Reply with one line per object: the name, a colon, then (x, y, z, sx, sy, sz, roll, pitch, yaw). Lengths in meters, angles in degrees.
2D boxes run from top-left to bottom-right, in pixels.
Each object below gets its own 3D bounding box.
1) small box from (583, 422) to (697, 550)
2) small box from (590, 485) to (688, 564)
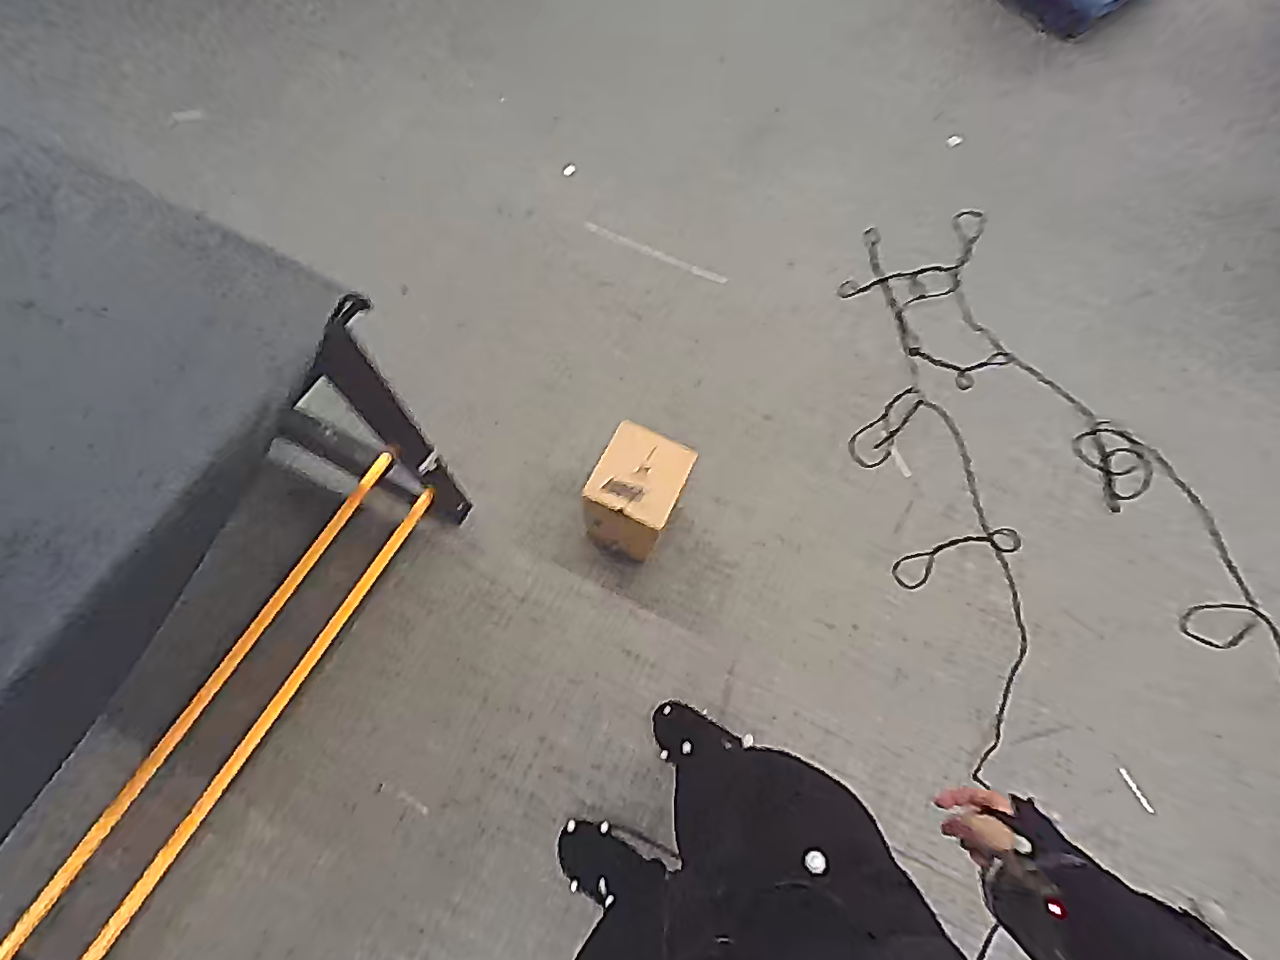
small box: (-0.001, 0.020, 1.097, 0.168, 0.176, 0.179, 25, 68, 6)
small box: (-0.010, 0.069, 1.253, 0.168, 0.176, 0.179, 27, 68, 8)
